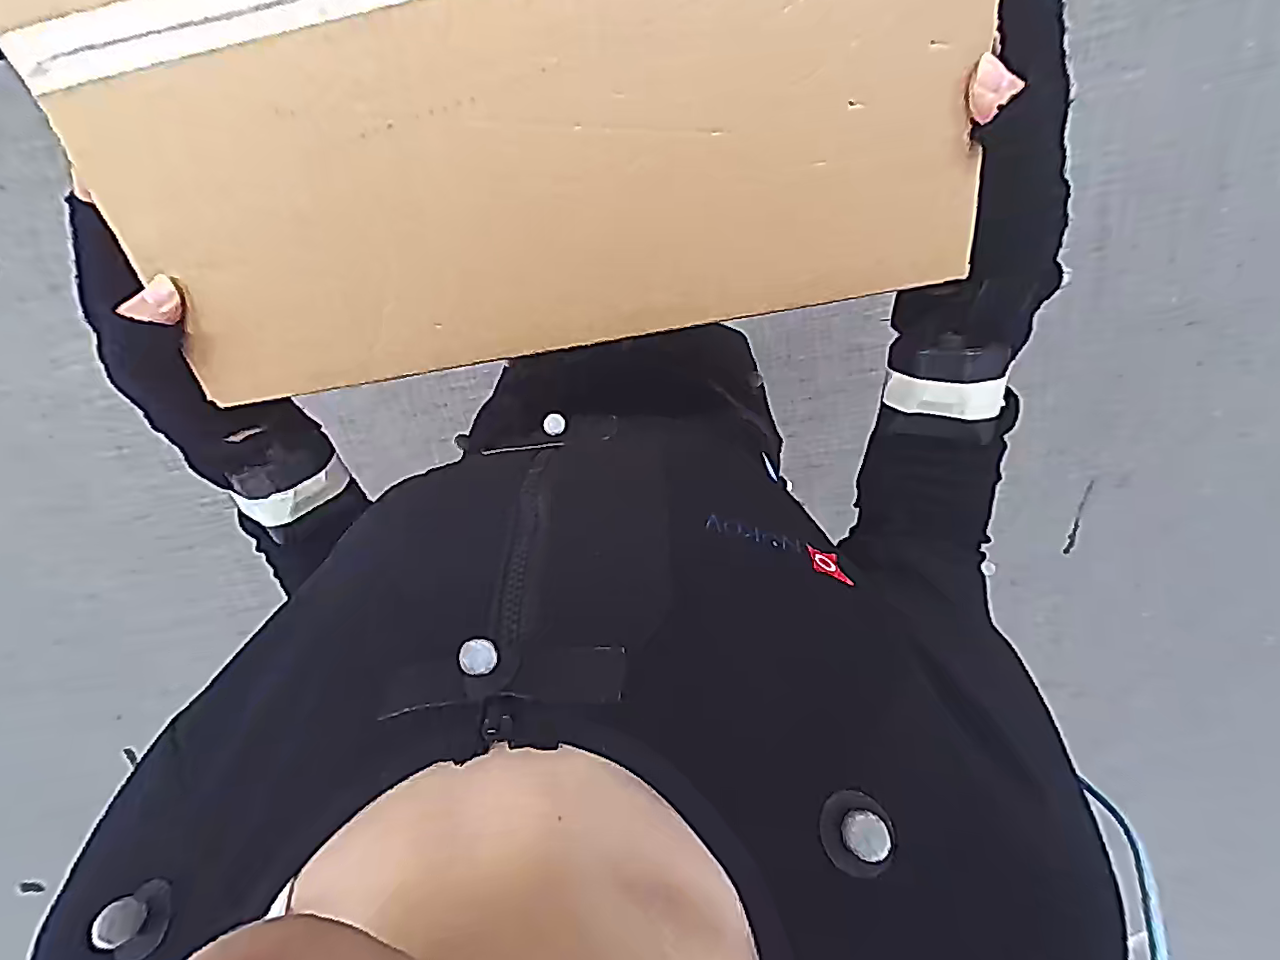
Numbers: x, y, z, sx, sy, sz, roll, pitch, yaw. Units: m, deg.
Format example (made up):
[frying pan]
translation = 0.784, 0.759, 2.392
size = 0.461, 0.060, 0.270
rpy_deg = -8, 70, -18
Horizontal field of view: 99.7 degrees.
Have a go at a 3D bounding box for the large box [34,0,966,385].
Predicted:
[large box]
translation = -0.064, -0.287, 0.357
size = 0.408, 0.320, 0.320
rpy_deg = -9, 118, 6
